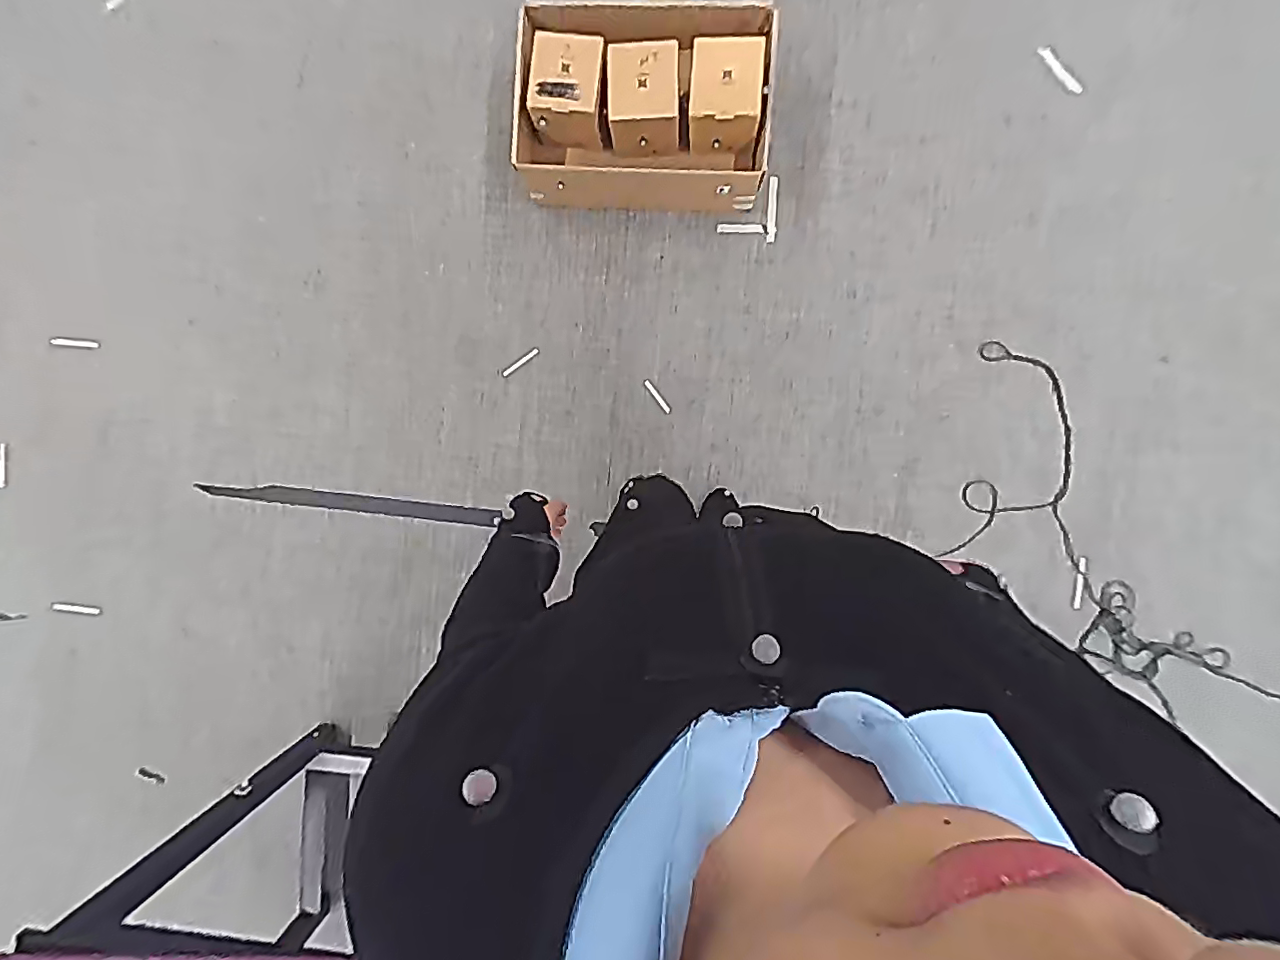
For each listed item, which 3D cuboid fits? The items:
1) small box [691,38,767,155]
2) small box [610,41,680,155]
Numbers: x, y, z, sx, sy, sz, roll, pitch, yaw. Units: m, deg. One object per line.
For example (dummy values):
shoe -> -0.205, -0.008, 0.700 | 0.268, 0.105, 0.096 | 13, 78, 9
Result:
small box -> 0.212, -0.931, 1.323 | 0.168, 0.176, 0.179 | 4, 94, 6
small box -> 0.016, -0.932, 1.338 | 0.168, 0.176, 0.179 | 0, 92, 3
